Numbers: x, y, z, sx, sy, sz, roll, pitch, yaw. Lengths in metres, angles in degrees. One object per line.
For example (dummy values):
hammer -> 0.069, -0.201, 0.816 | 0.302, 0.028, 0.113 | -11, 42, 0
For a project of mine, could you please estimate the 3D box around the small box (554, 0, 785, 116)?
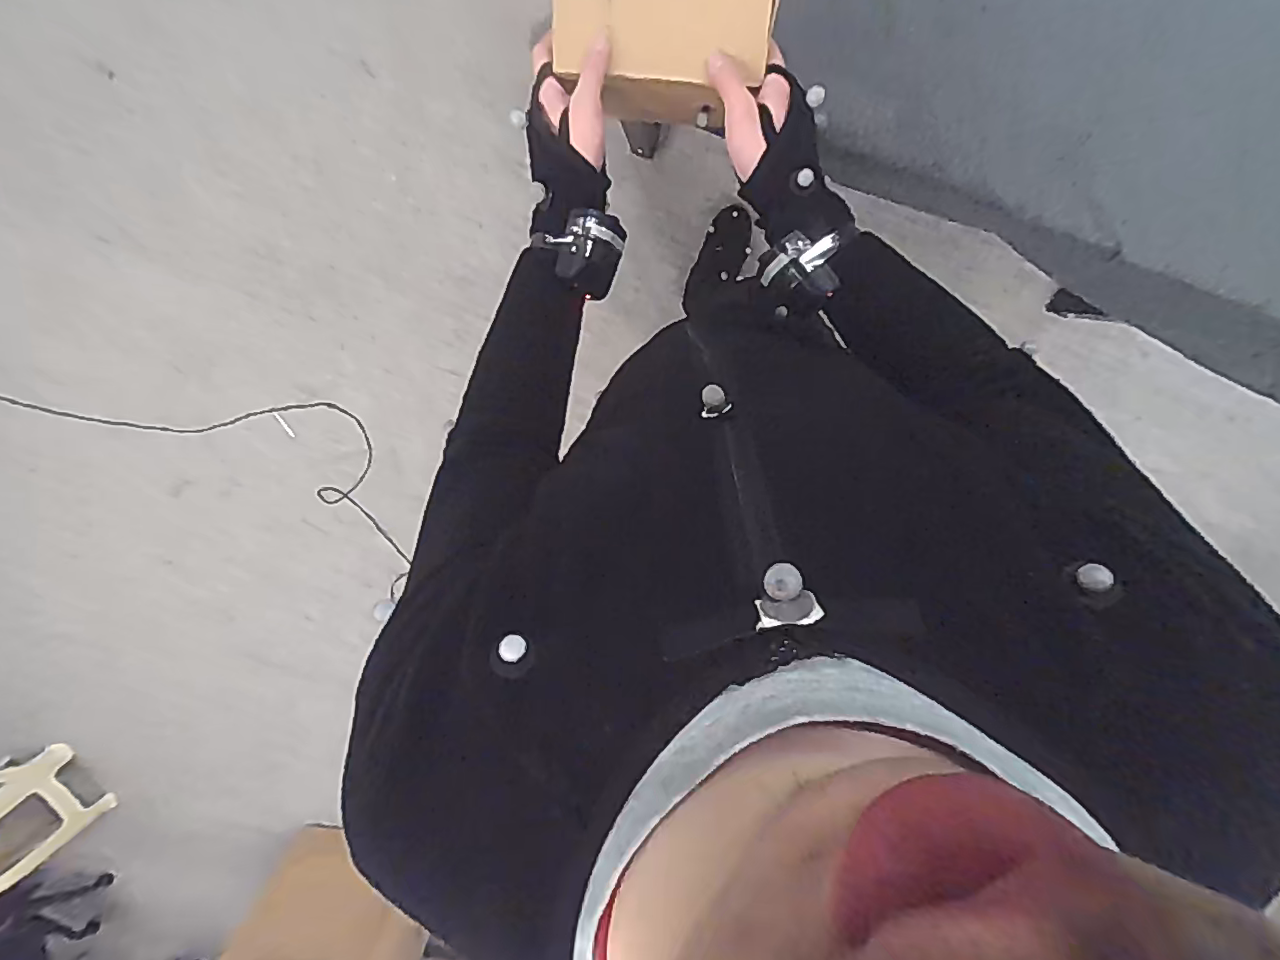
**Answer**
small box -> 0.027, -0.432, 0.465 | 0.179, 0.176, 0.168 | 4, 112, 0
